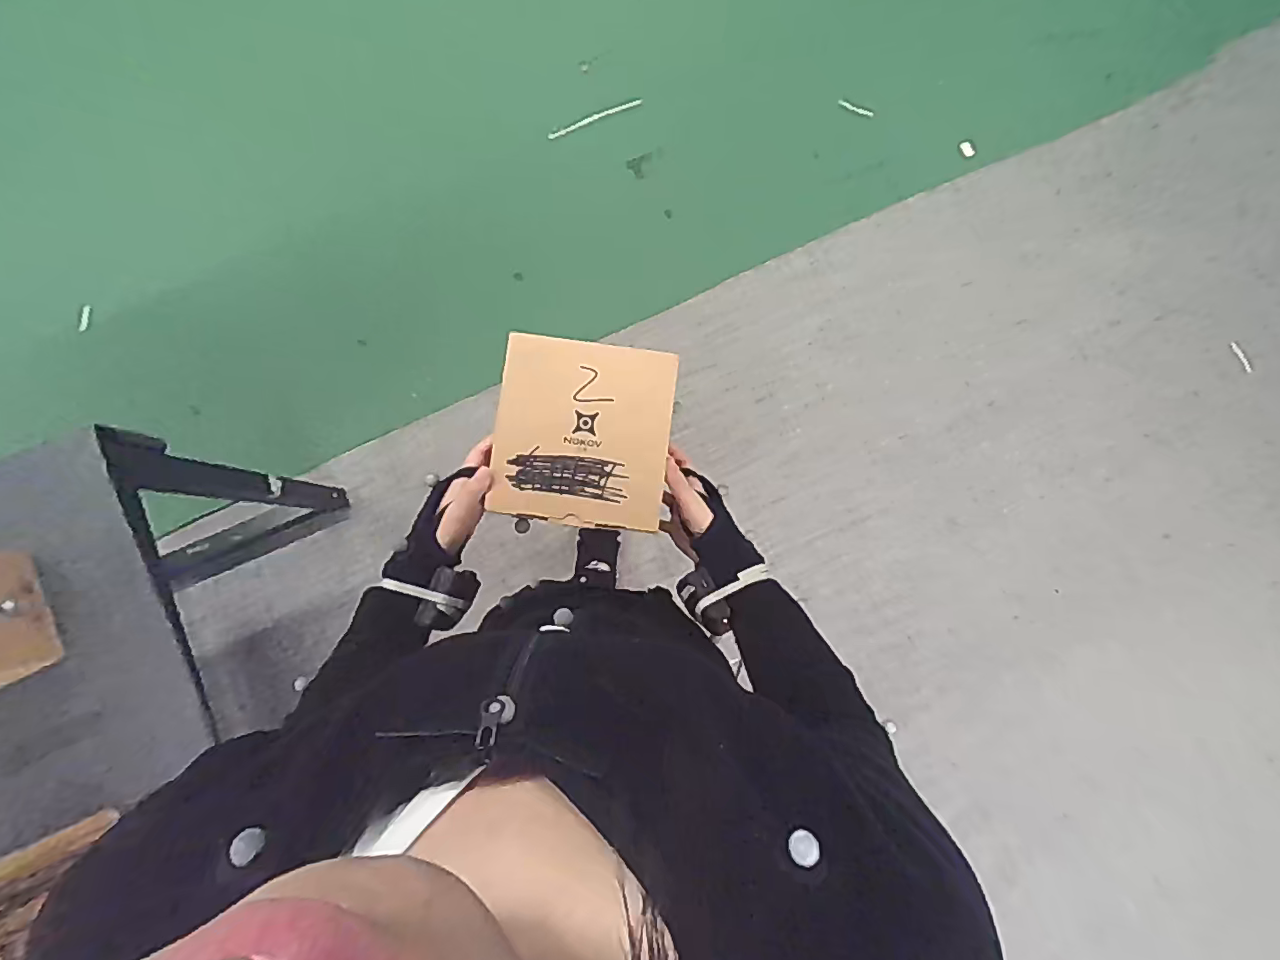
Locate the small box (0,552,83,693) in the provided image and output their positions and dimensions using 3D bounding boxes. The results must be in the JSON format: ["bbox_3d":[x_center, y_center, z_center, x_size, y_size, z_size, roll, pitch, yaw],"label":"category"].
[{"bbox_3d":[-0.909,0.204,0.703,0.179,0.176,0.168,-26,85,-3],"label":"small box"}]

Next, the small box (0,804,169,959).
[{"bbox_3d":[-0.750,0.545,0.666,0.179,0.176,0.168,-24,83,-2],"label":"small box"}]
